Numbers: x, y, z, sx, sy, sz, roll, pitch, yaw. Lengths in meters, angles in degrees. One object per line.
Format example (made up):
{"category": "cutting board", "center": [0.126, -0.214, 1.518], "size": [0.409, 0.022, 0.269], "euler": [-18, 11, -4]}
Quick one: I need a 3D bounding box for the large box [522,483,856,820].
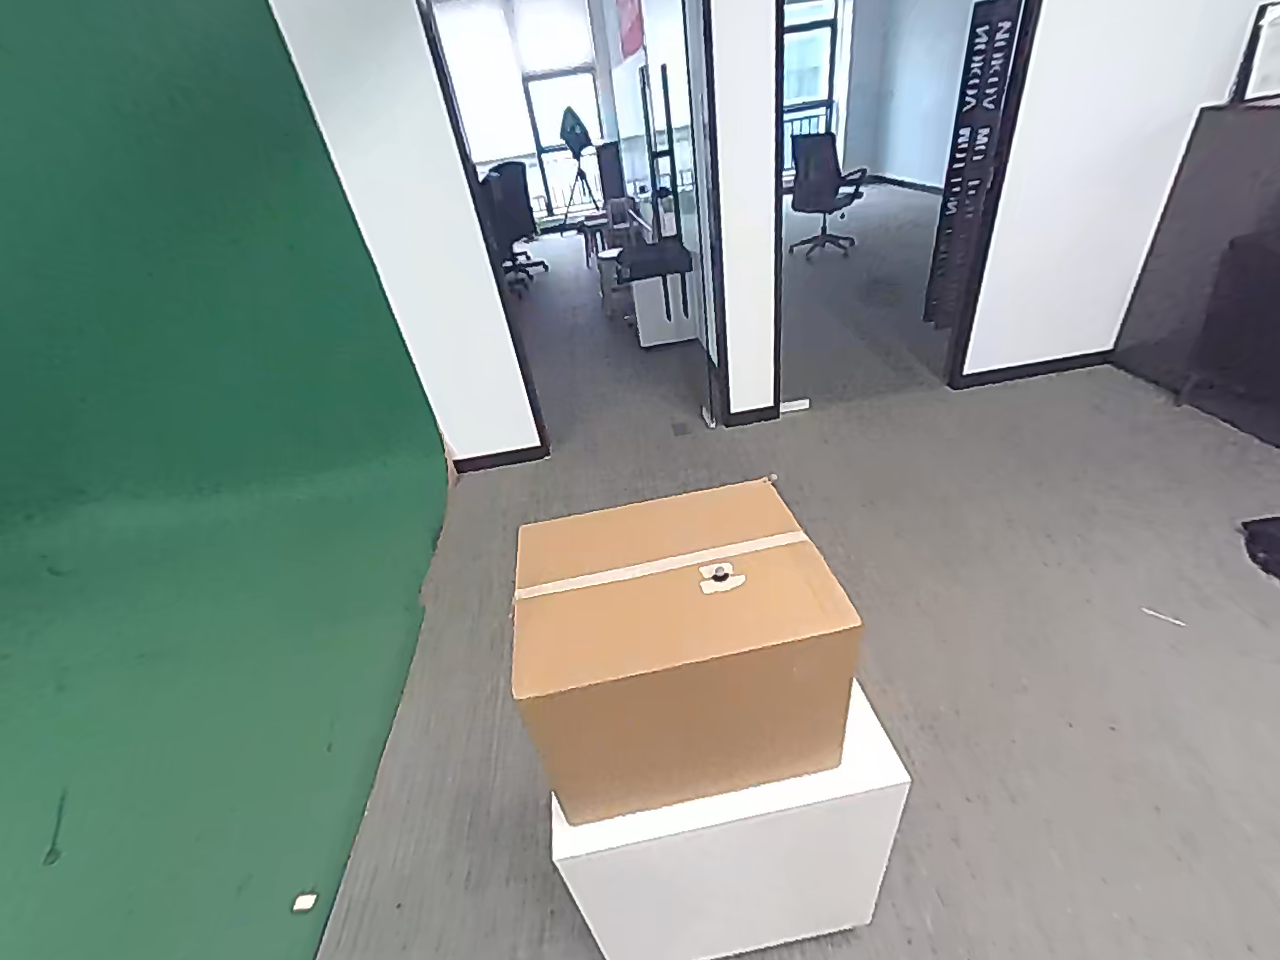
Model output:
{"category": "large box", "center": [0.052, 0.245, 0.820], "size": [0.408, 0.320, 0.320], "euler": [-10, 35, -4]}
